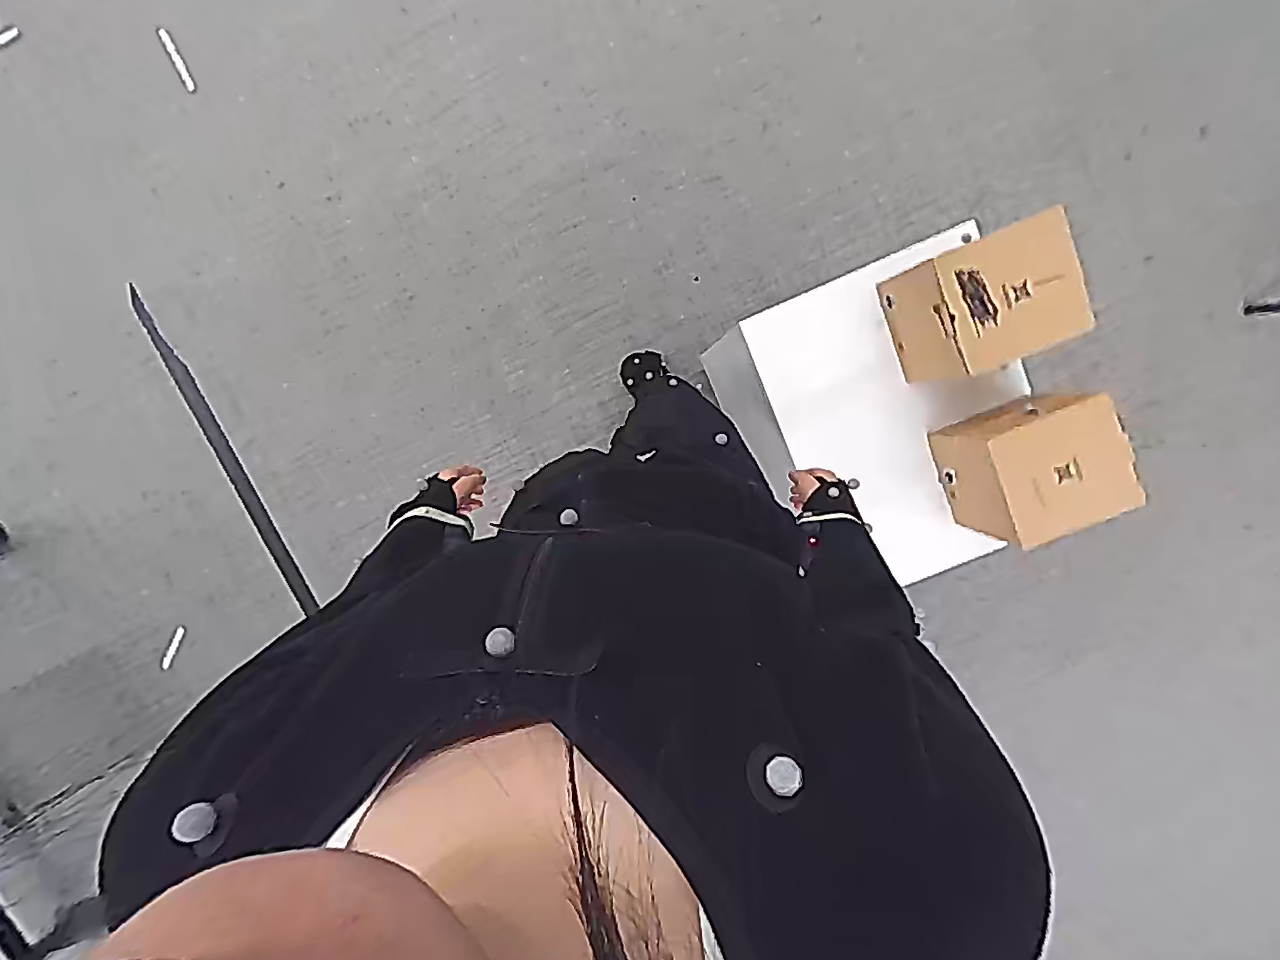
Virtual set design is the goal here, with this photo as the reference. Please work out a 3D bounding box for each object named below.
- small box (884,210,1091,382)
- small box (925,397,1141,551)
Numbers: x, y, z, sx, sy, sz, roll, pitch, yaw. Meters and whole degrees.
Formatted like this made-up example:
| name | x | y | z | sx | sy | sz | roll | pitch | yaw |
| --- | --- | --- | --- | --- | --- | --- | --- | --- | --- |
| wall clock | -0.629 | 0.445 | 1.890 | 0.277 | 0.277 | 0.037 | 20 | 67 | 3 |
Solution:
| name | x | y | z | sx | sy | sz | roll | pitch | yaw |
| --- | --- | --- | --- | --- | --- | --- | --- | --- | --- |
| small box | 0.477 | -0.247 | 0.775 | 0.179 | 0.176 | 0.168 | -21 | 98 | 2 |
| small box | 0.571 | -0.017 | 0.808 | 0.179 | 0.176 | 0.168 | -23 | 96 | 4 |
